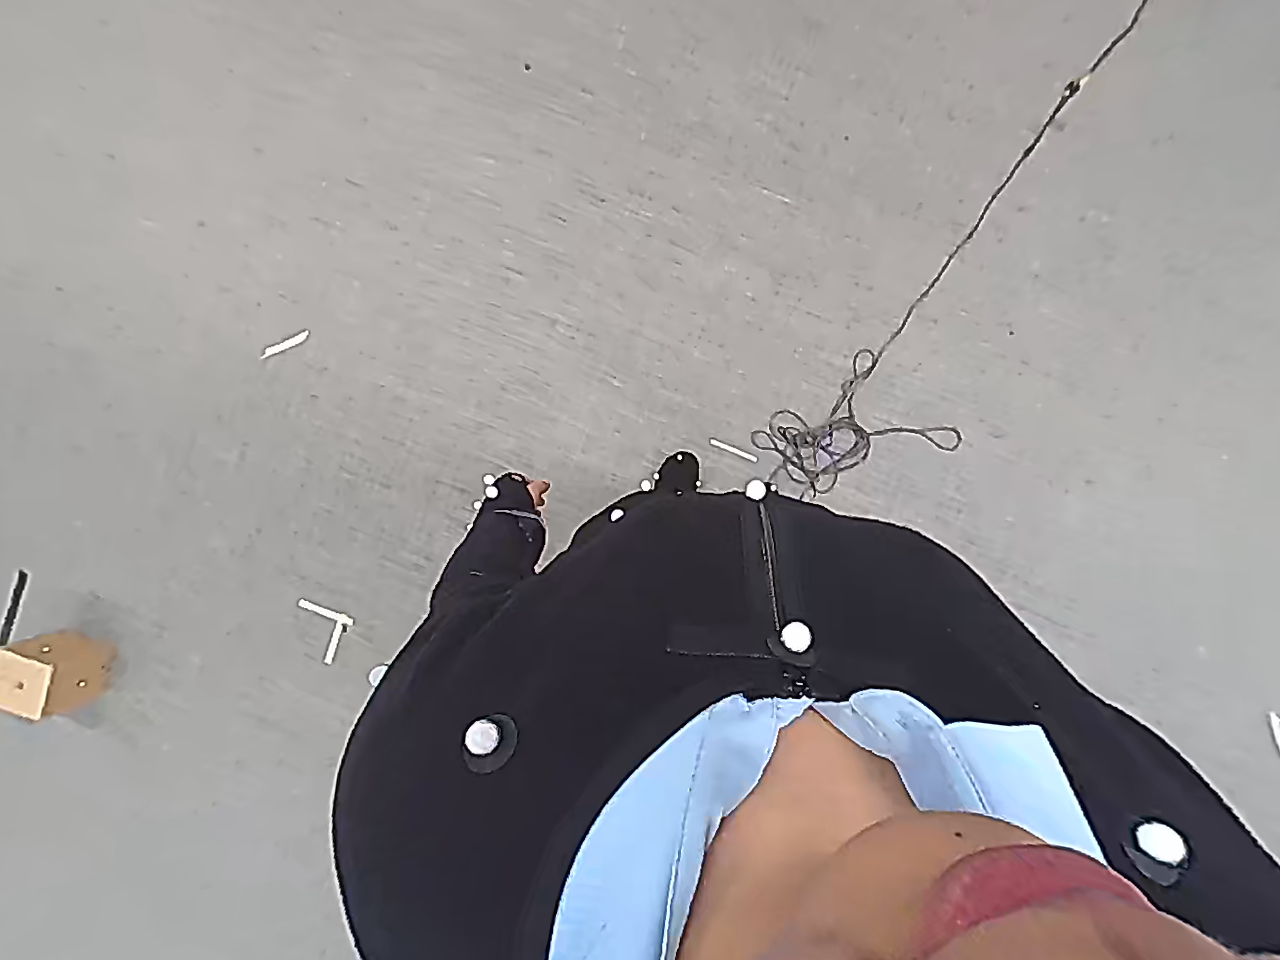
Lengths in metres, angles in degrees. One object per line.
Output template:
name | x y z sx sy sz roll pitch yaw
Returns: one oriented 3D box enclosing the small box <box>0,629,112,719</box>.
small box | -1.707 0.553 1.570 0.179 0.176 0.168 18 94 4
